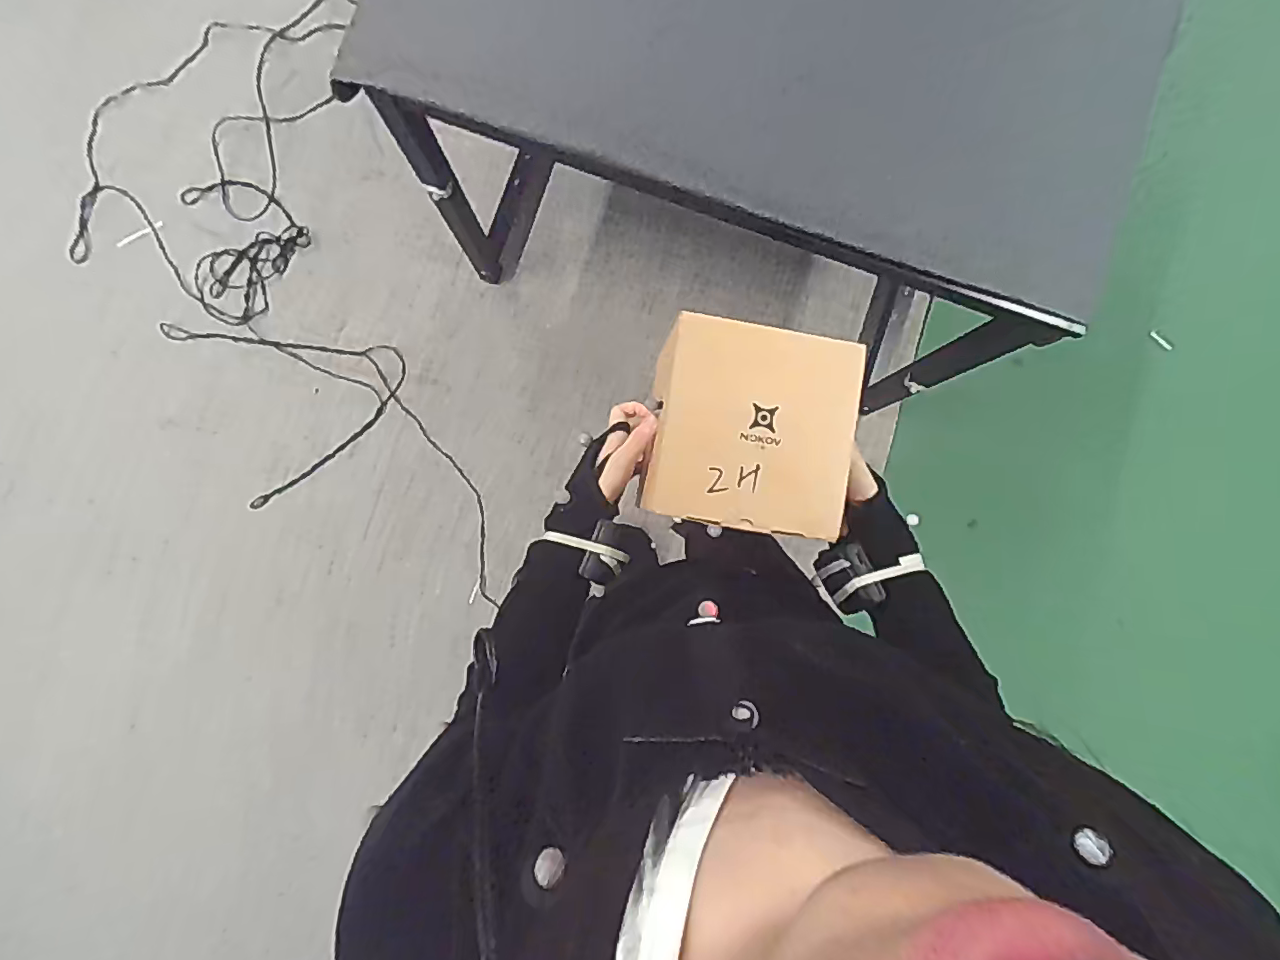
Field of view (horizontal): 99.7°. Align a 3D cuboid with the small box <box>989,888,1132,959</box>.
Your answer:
[{"bbox_3d":[0.926,1.056,1.196,0.179,0.176,0.168,18,86,0],"label":"small box"}]

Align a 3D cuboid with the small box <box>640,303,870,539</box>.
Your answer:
[{"bbox_3d":[0.096,-0.046,0.529,0.168,0.176,0.179,10,88,-4],"label":"small box"}]
